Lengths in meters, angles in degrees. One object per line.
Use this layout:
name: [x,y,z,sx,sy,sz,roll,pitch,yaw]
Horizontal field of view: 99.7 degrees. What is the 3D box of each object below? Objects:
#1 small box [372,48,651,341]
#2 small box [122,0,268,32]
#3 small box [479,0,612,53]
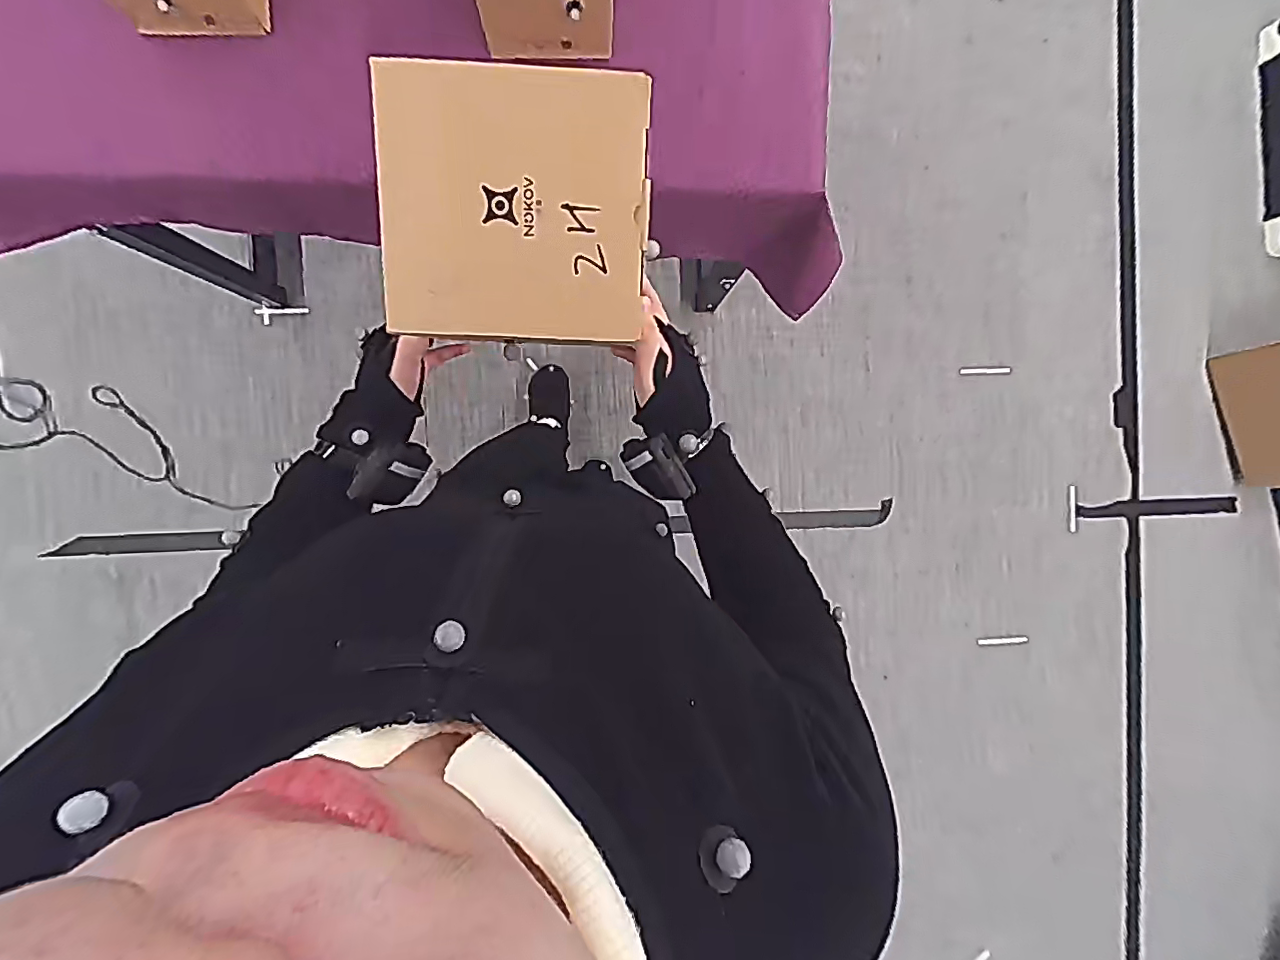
small box: [-0.086,-0.201,0.431,0.179,0.176,0.168,2,104,-3]
small box: [-0.565,-0.671,0.621,0.168,0.176,0.179,-3,94,-4]
small box: [-0.117,-0.662,0.653,0.168,0.176,0.179,-2,93,-5]
